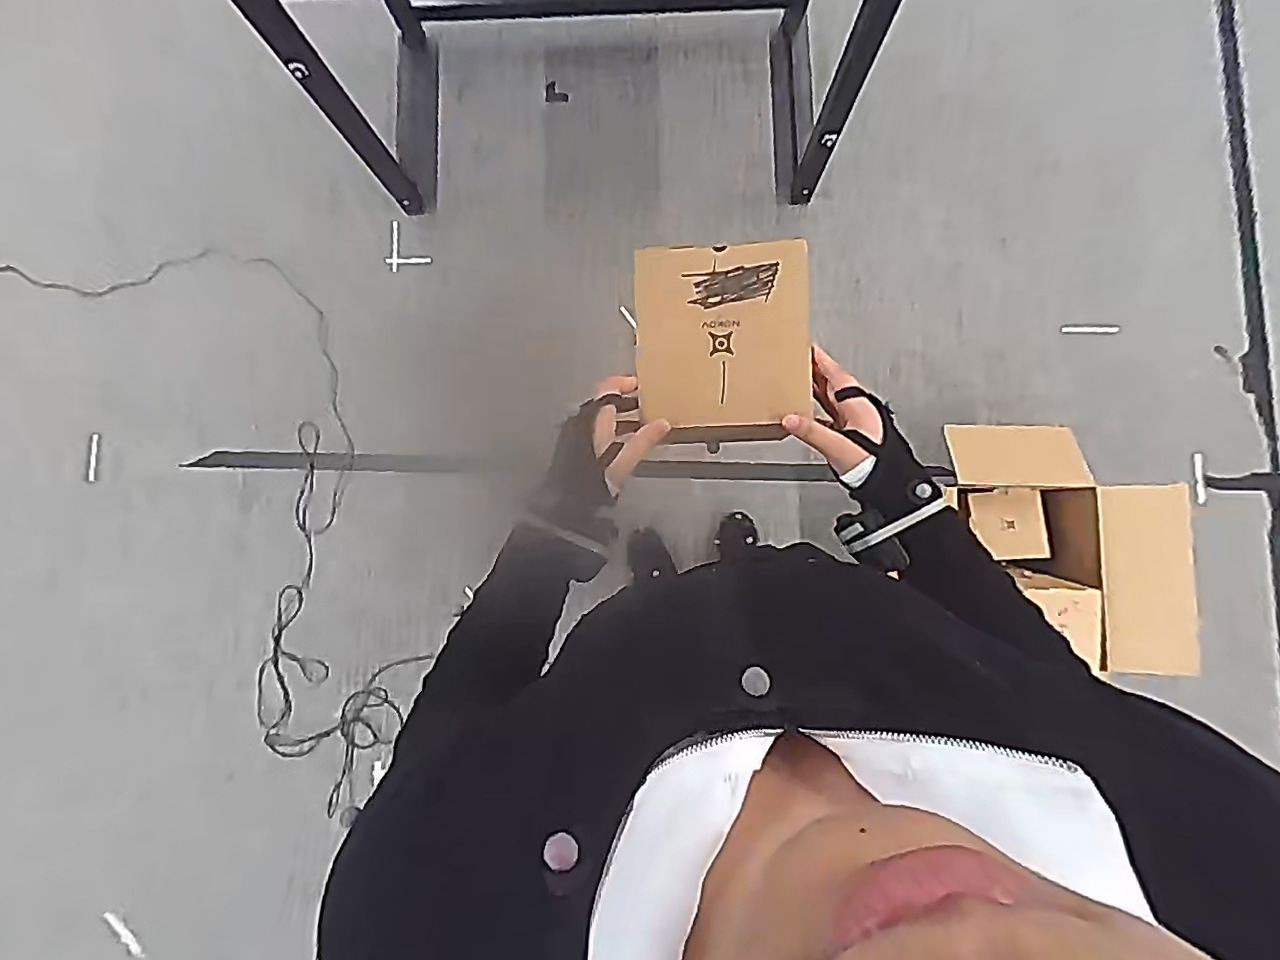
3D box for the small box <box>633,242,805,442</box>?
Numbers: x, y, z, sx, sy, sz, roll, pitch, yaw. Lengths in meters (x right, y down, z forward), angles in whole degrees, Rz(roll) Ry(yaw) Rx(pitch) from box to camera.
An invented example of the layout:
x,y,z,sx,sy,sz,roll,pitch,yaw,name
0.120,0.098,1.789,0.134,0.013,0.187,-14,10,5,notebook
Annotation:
x,y,z,sx,sy,sz,roll,pitch,yaw,name
0.081,-0.138,0.600,0.168,0.176,0.179,-2,90,5,small box
